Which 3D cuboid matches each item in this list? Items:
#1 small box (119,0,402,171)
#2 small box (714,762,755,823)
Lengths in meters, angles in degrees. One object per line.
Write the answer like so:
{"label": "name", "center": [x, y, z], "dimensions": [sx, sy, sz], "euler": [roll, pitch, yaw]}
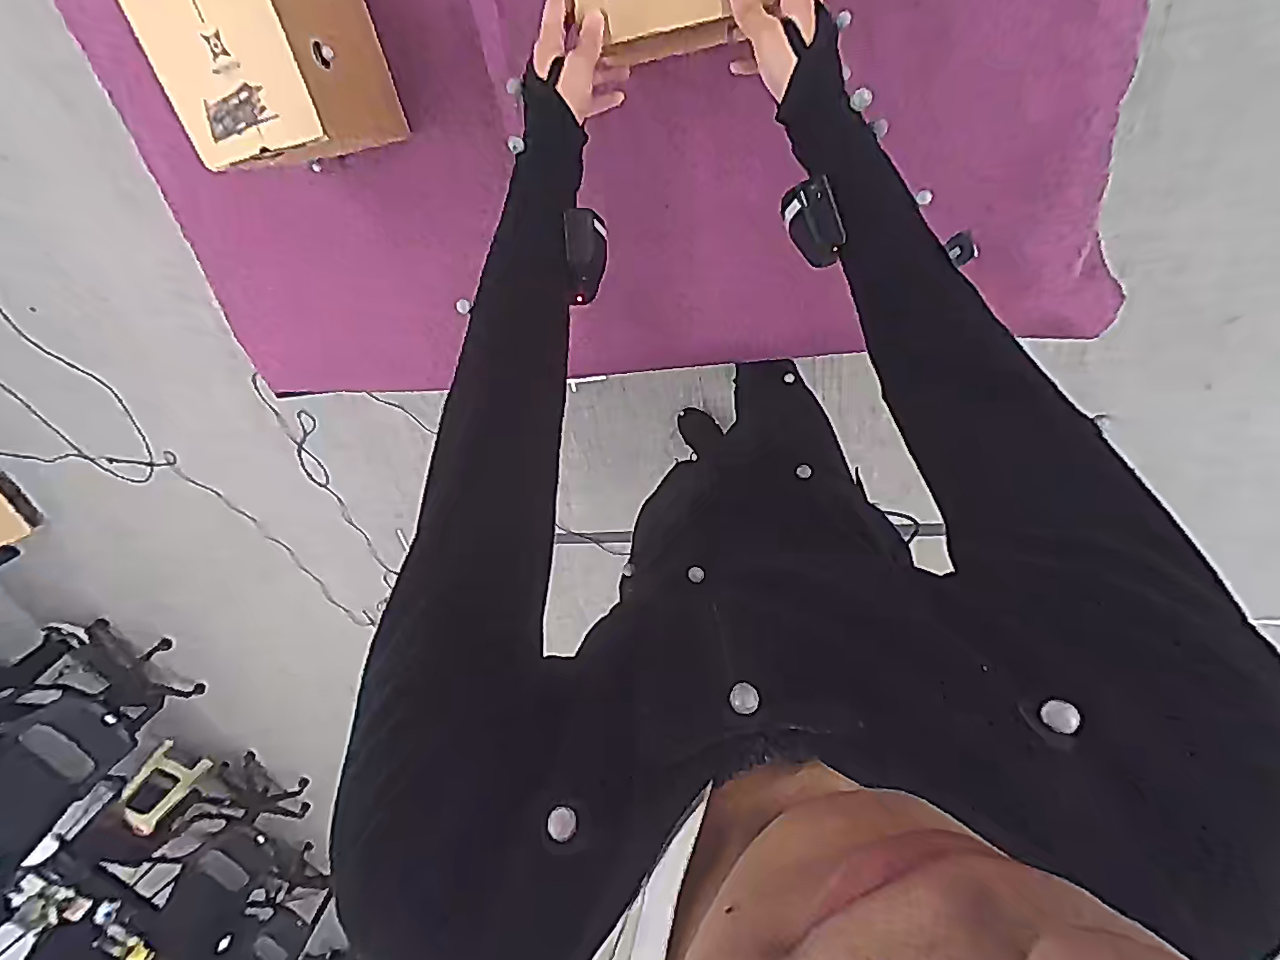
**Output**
{"label": "small box", "center": [-0.406, -0.467, 0.609], "dimensions": [0.168, 0.176, 0.179], "euler": [-4, 121, 14]}
{"label": "small box", "center": [0.432, 1.415, 2.448], "dimensions": [0.168, 0.176, 0.179], "euler": [-4, 118, 14]}
